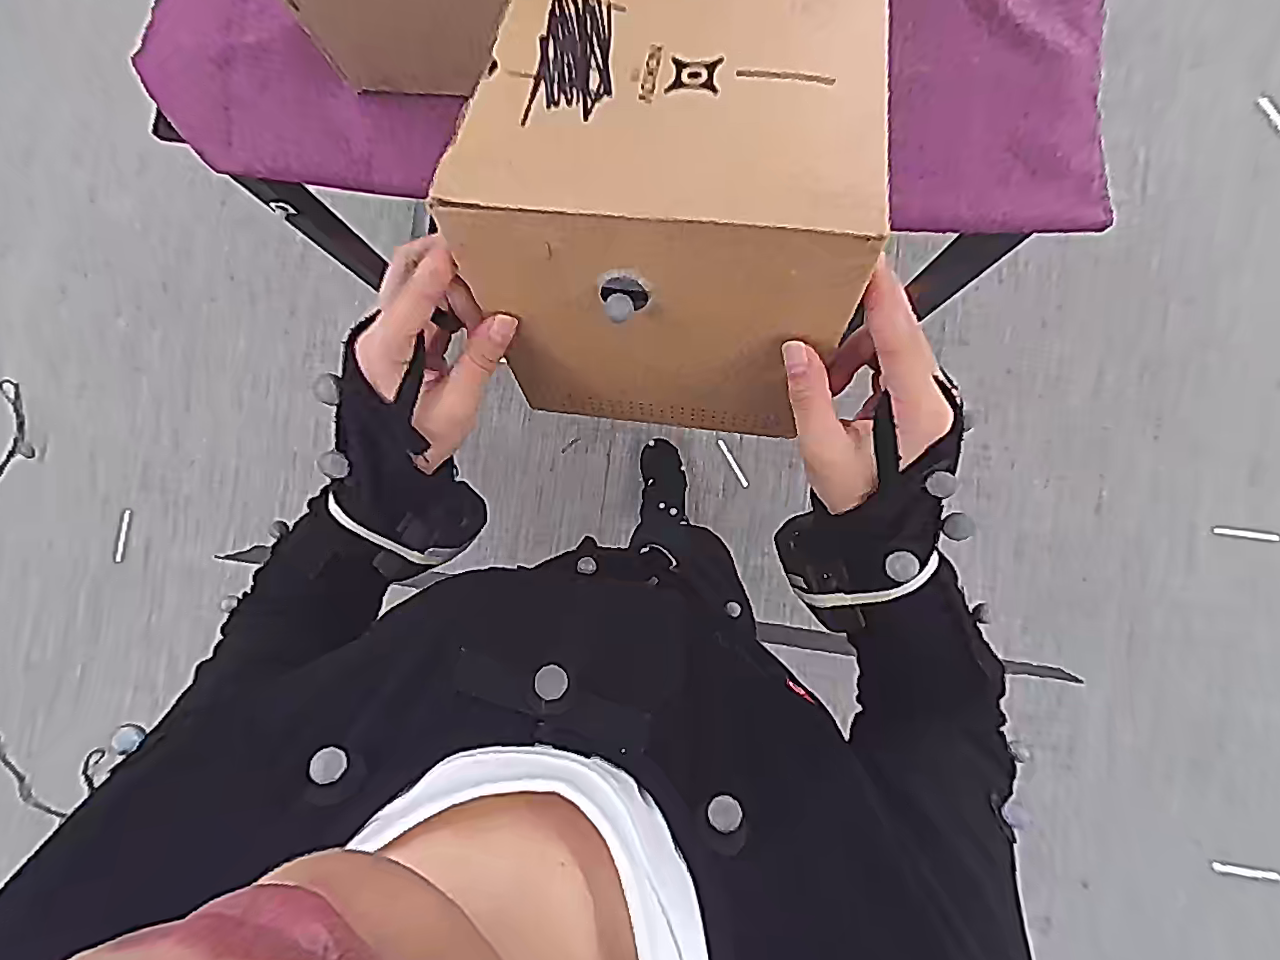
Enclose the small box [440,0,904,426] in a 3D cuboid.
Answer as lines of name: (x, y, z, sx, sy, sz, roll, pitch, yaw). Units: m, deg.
small box: (0.025, -0.143, 0.300, 0.179, 0.176, 0.168, 7, 70, 6)
